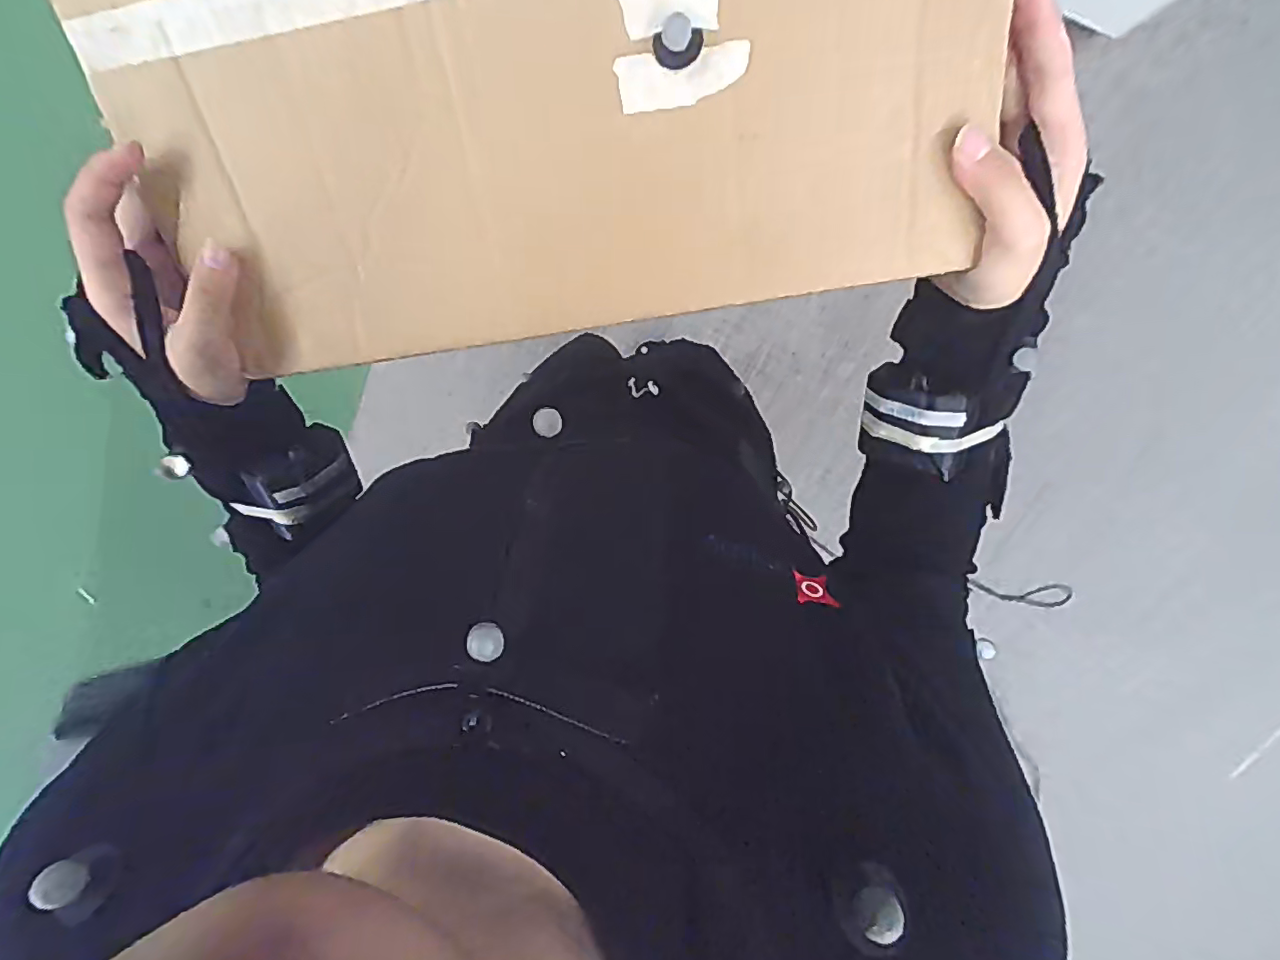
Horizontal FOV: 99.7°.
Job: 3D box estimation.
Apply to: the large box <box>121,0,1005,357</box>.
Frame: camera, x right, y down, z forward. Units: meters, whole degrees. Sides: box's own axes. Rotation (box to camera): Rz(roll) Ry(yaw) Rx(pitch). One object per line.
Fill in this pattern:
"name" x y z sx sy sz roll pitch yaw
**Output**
"large box" -0.039 -0.294 0.372 0.408 0.320 0.320 -7 114 5
